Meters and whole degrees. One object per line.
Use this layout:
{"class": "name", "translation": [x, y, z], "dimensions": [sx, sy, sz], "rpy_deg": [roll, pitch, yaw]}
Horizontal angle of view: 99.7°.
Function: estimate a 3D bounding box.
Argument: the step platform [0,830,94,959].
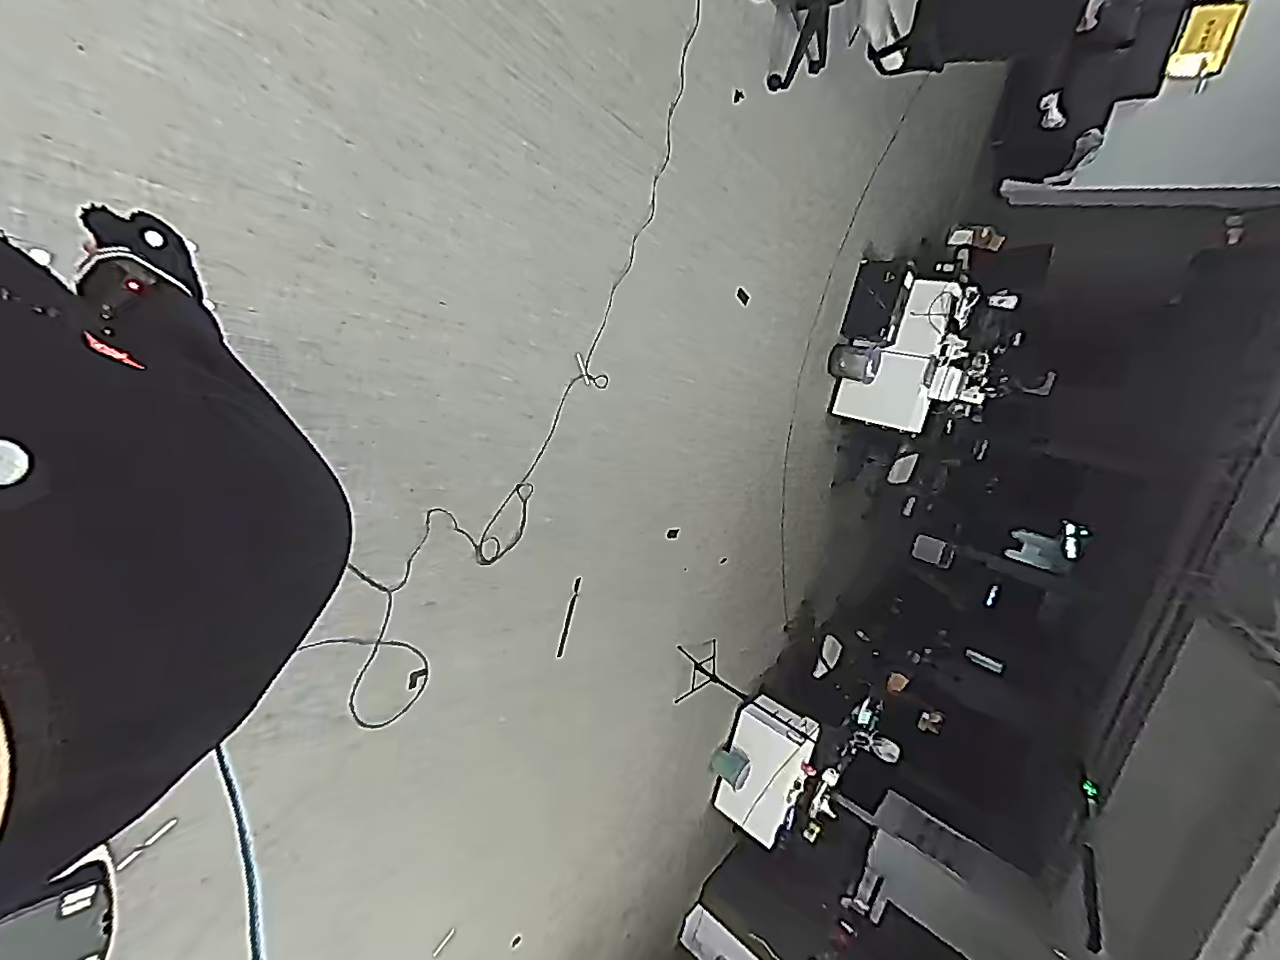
{"class": "step platform", "translation": [-1.486, 0.979, 0.990], "dimensions": [0.684, 0.204, 0.286], "rpy_deg": [-4, 110, -50]}
